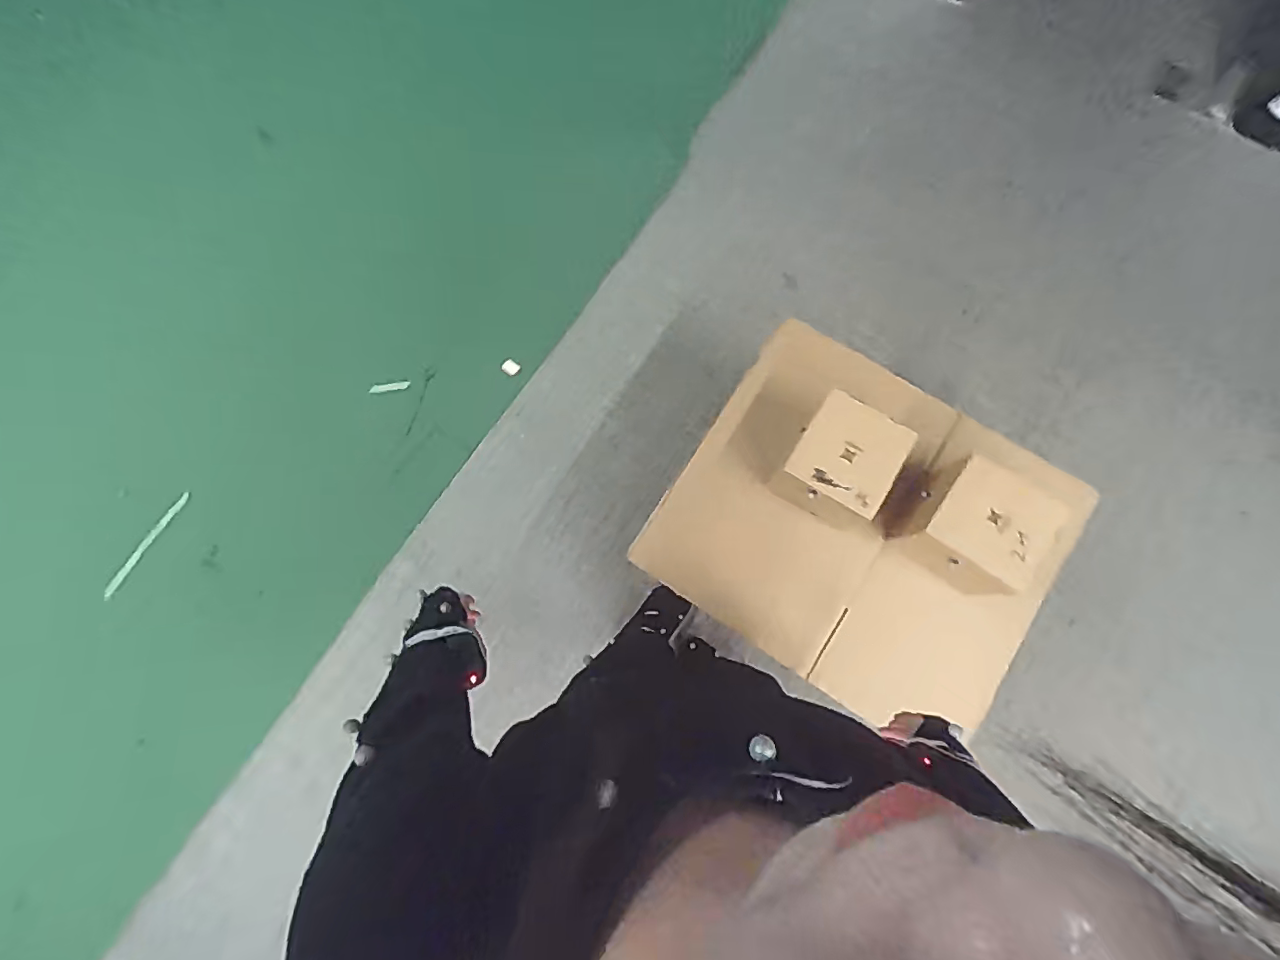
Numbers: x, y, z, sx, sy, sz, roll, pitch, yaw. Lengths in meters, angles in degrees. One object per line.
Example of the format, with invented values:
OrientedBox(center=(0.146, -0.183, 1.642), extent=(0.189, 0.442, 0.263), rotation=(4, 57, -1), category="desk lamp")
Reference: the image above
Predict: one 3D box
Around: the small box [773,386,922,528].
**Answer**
OrientedBox(center=(0.360, -0.033, 0.974), extent=(0.168, 0.176, 0.179), rotation=(32, 82, 9), category="small box")

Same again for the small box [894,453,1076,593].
OrientedBox(center=(0.582, 0.083, 0.941), extent=(0.179, 0.176, 0.168), rotation=(36, 83, 10), category="small box")
